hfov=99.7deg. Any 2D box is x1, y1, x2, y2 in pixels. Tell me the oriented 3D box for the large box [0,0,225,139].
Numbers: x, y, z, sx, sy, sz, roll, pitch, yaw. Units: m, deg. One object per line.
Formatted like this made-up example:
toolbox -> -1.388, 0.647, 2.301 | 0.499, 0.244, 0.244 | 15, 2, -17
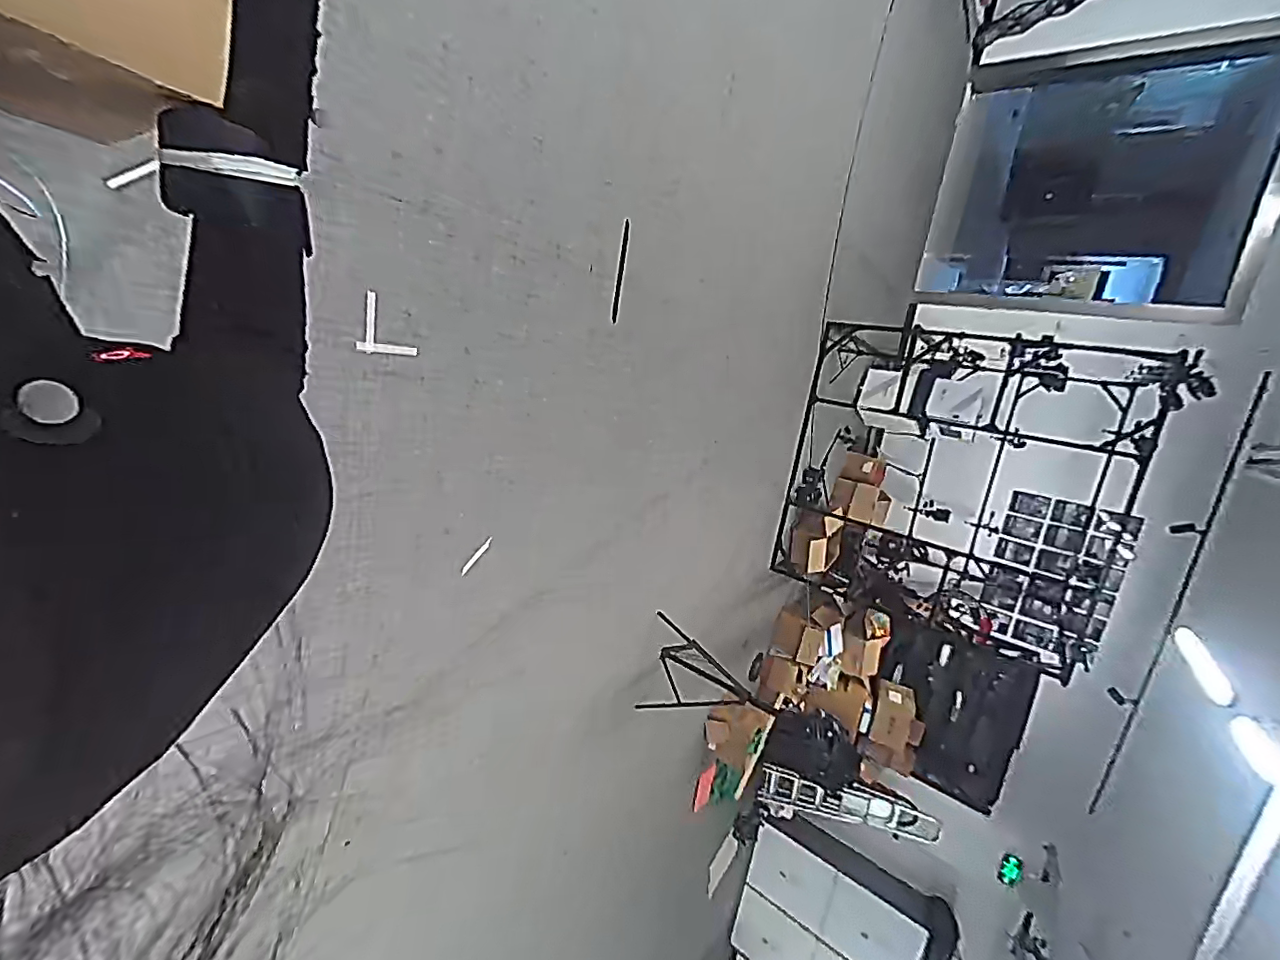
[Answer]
large box -> -0.481, -0.423, 0.250 | 0.408, 0.320, 0.320 | -2, 108, -55
